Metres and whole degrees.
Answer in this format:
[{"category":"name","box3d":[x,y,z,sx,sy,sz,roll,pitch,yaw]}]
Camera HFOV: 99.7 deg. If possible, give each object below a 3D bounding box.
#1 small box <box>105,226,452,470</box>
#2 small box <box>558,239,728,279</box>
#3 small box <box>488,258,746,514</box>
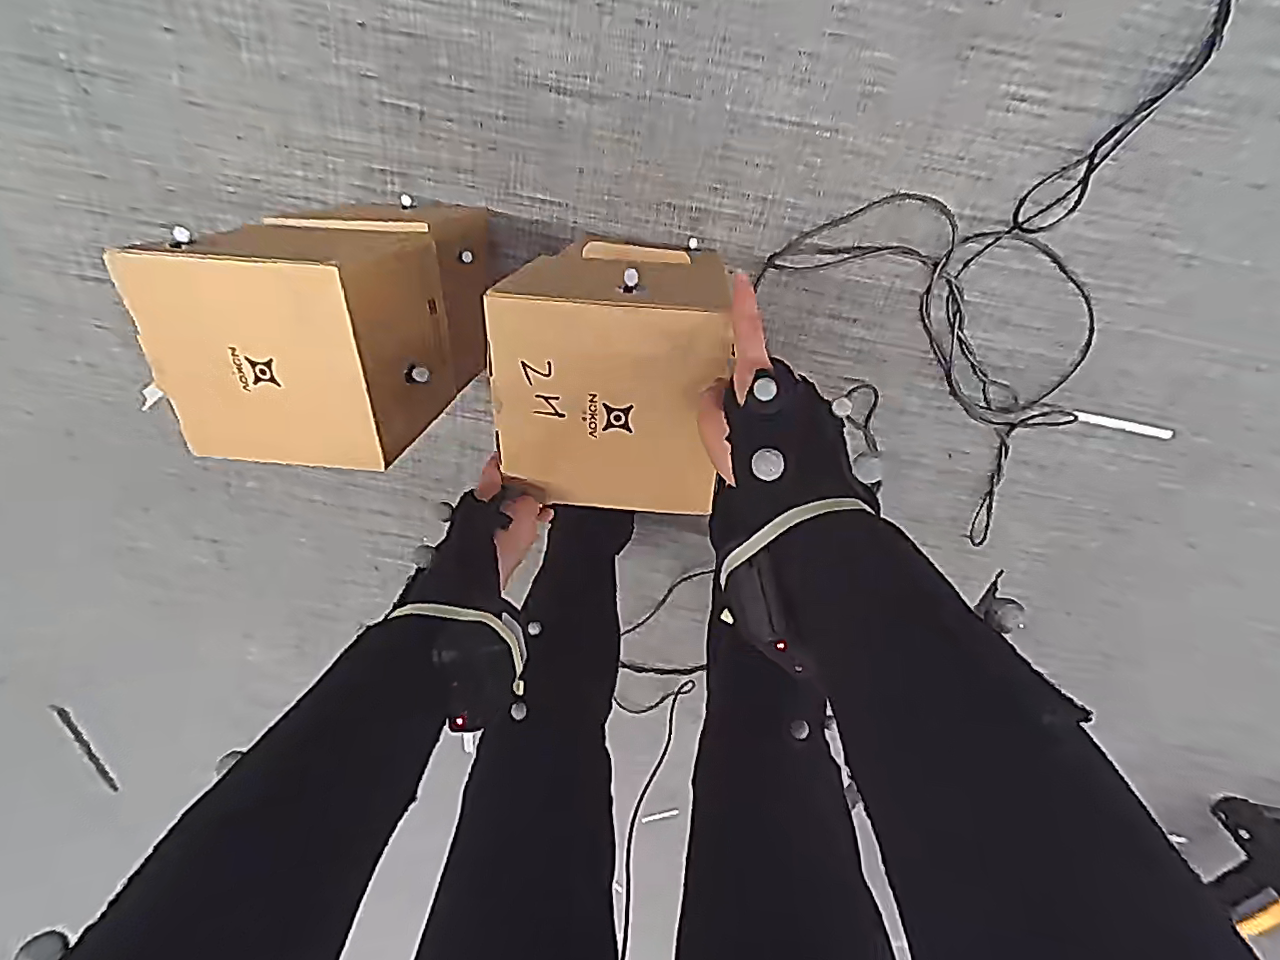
[{"category":"small box","box3d":[-0.282,-0.125,0.478,0.179,0.176,0.168,4,121,4]},{"category":"small box","box3d":[0.000,-0.165,0.613,0.168,0.176,0.179,7,122,3]},{"category":"small box","box3d":[-0.014,-0.090,0.465,0.179,0.176,0.168,5,120,3]}]
